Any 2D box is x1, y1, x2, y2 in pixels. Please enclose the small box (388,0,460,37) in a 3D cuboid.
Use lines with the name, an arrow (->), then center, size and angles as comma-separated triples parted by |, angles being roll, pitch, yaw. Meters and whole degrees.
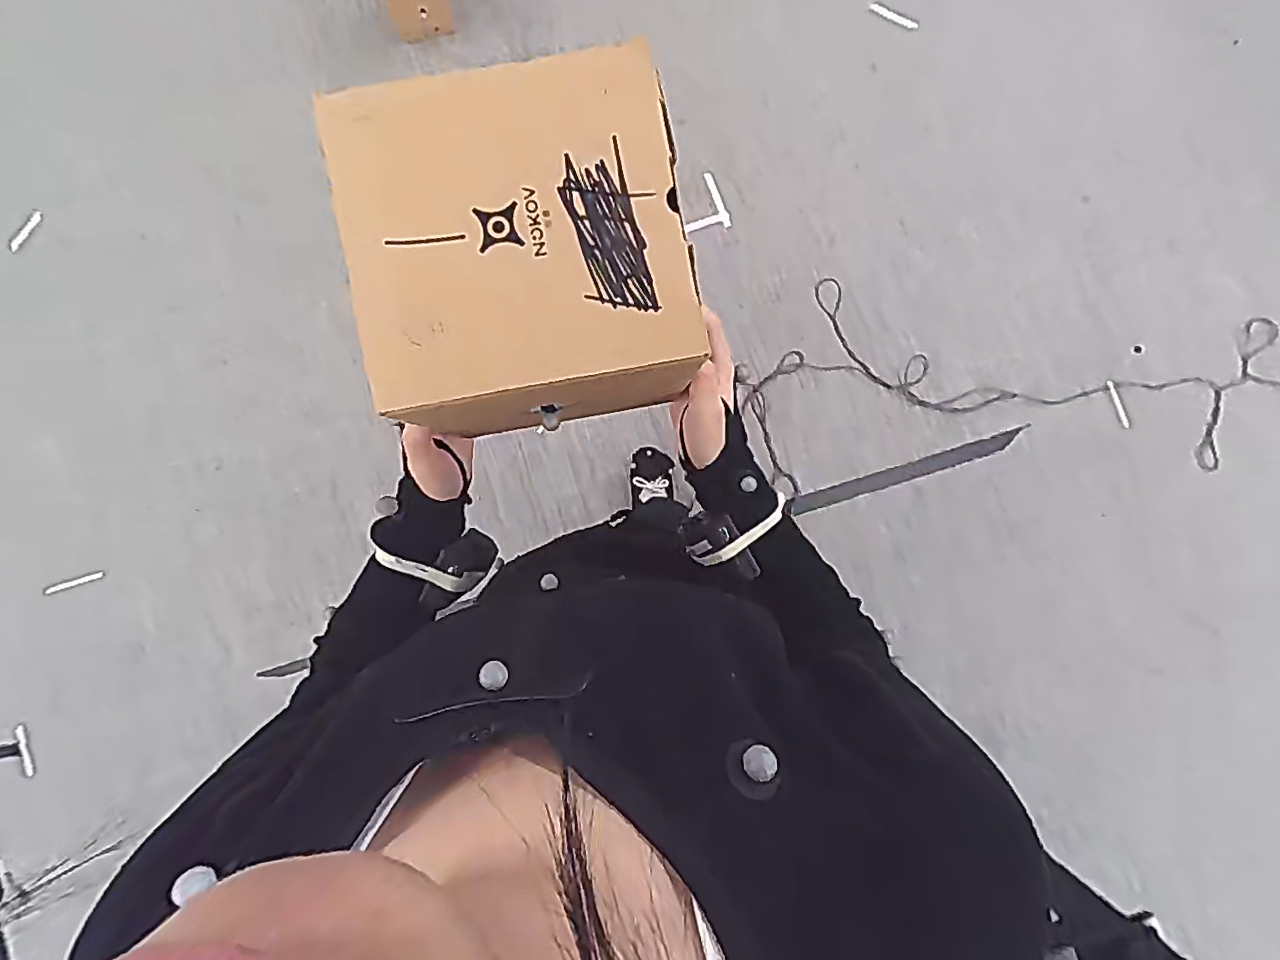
small box -> -0.630, -1.405, 1.530 | 0.168, 0.176, 0.179 | -17, 86, -2

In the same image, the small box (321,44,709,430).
small box -> -0.066, -0.131, 0.357 | 0.179, 0.176, 0.168 | -11, 91, -1
